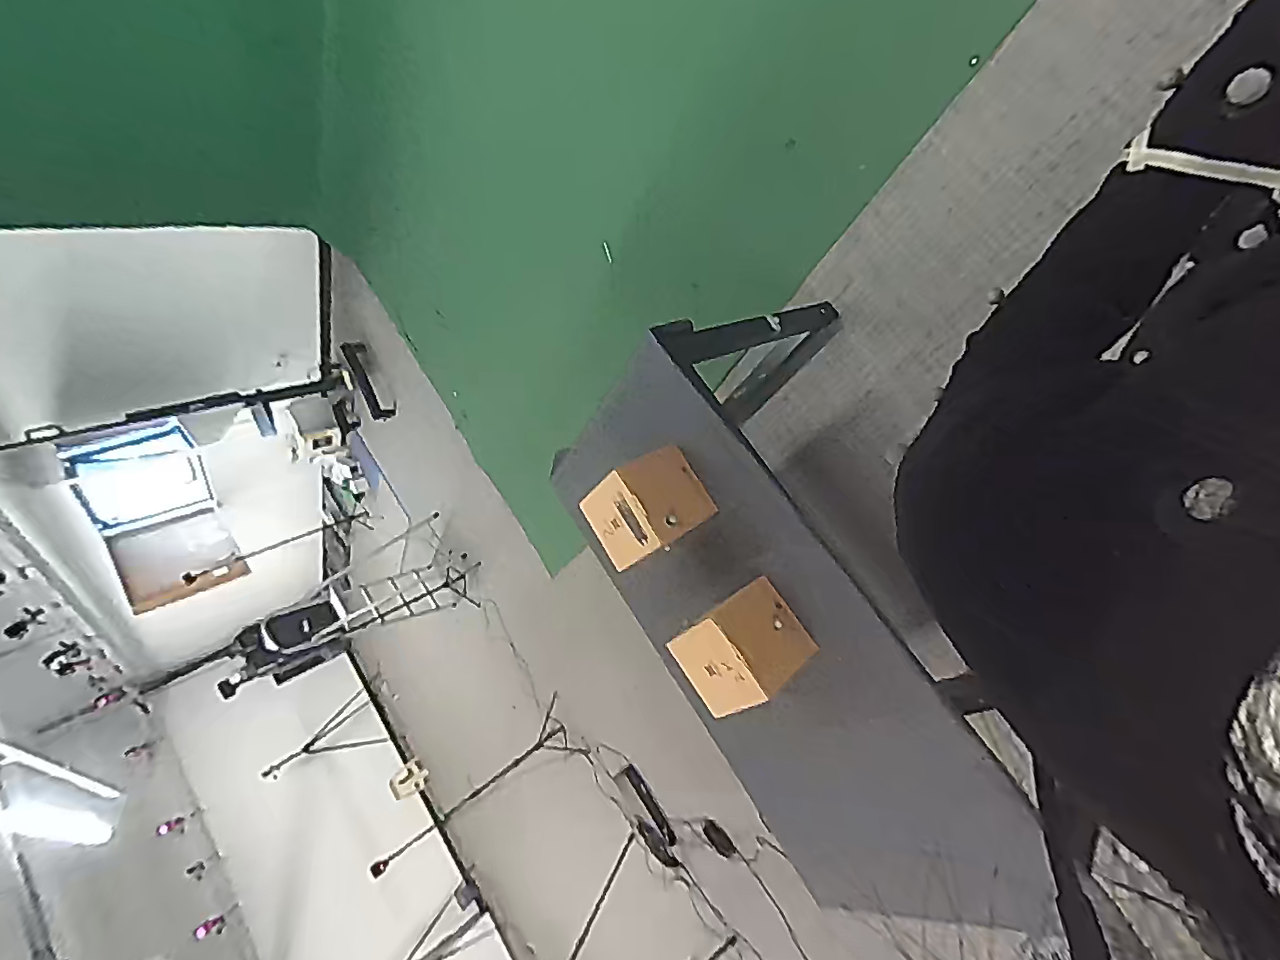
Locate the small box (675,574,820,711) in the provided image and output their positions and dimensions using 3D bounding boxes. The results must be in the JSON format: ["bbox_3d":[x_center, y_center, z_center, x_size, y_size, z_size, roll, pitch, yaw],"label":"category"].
[{"bbox_3d":[0.207,0.310,1.037,0.168,0.176,0.179,54,140,13],"label":"small box"}]
